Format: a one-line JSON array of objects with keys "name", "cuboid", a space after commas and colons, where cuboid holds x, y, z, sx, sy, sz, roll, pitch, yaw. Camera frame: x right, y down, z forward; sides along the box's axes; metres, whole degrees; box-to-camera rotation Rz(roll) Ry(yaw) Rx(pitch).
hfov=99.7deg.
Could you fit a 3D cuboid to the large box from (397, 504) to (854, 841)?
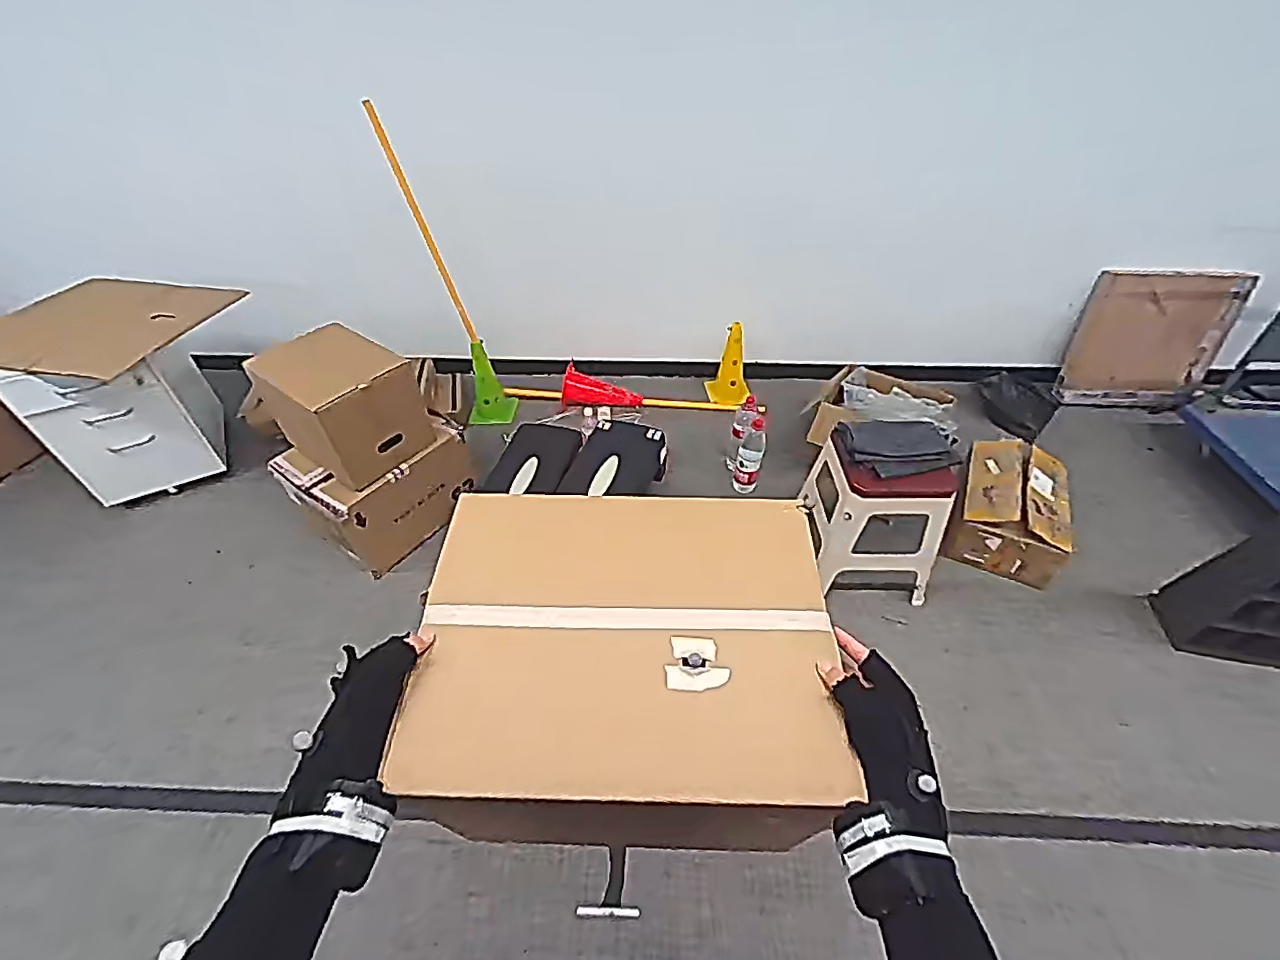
[{"name": "large box", "cuboid": [-0.014, 0.244, 0.671, 0.408, 0.320, 0.320, 1, 51, 0]}]
